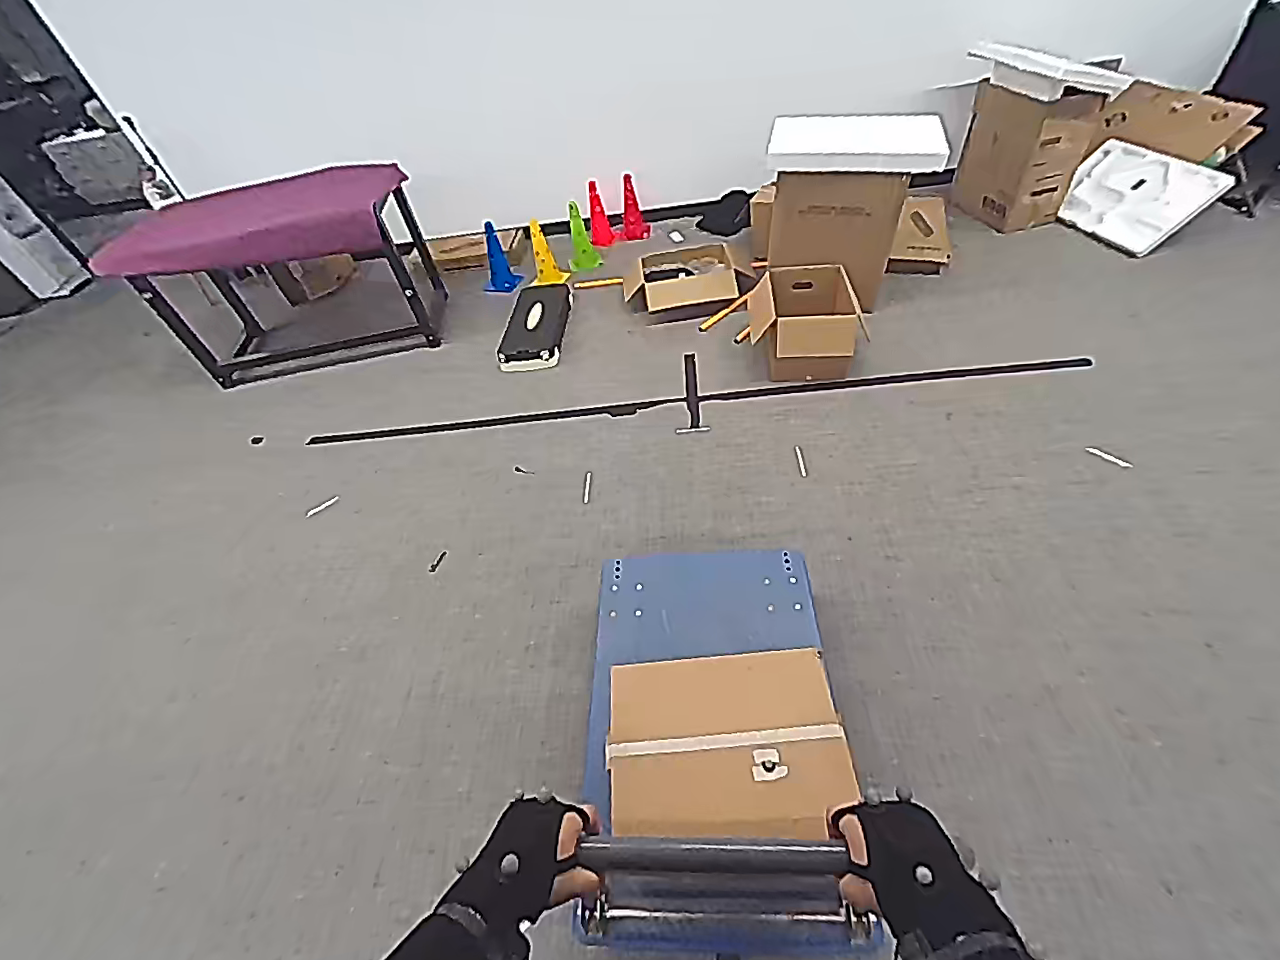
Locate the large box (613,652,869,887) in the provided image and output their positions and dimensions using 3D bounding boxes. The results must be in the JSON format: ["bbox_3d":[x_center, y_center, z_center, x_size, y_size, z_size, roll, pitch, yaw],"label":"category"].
[{"bbox_3d":[0.166,0.567,1.054,0.408,0.320,0.320,-6,47,2],"label":"large box"}]
